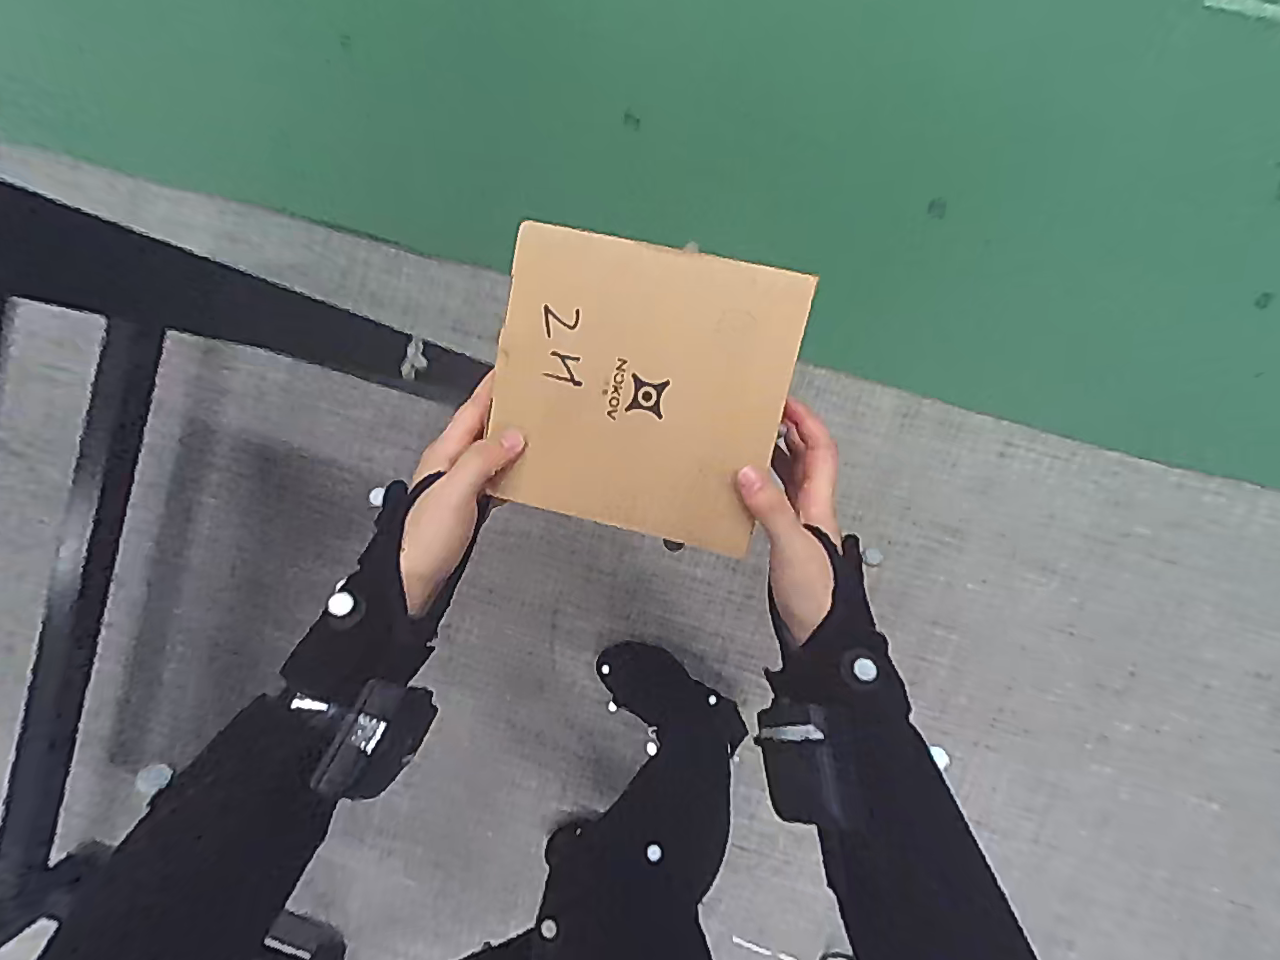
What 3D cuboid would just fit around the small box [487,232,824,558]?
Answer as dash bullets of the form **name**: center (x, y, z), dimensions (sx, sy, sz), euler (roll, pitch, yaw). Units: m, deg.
- **small box**: center (0.013, -0.060, 0.404), dimensions (0.179, 0.176, 0.168), euler (14, 99, 6)
